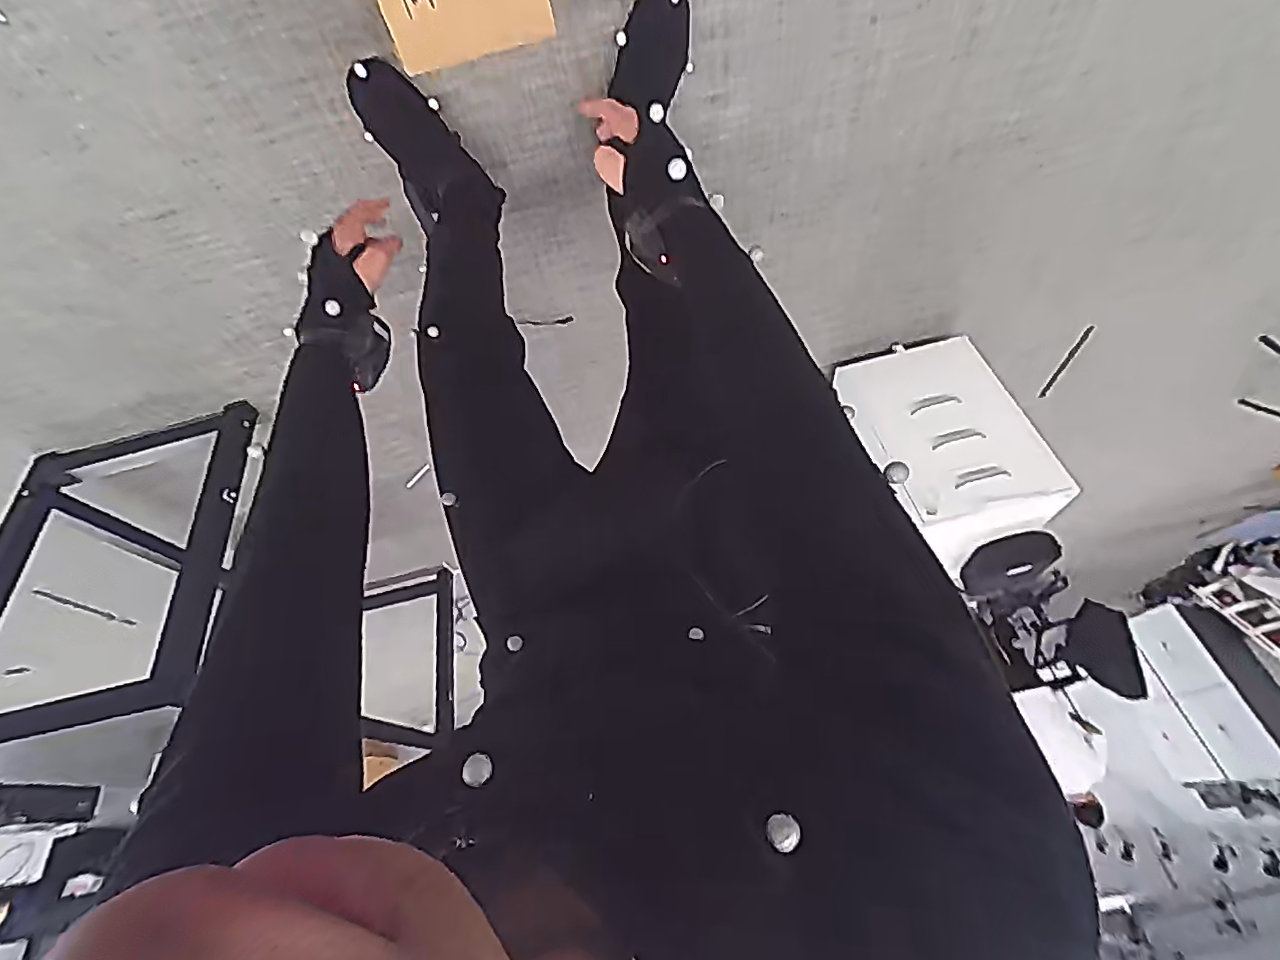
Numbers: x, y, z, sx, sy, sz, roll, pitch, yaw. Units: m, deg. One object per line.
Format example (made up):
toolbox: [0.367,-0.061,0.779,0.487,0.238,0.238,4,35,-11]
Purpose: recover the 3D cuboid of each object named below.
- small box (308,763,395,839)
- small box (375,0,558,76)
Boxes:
small box: [-0.877,0.981,1.659,0.179,0.176,0.168,-15,147,2]
small box: [-0.199,-0.573,0.573,0.179,0.176,0.168,-15,147,0]
